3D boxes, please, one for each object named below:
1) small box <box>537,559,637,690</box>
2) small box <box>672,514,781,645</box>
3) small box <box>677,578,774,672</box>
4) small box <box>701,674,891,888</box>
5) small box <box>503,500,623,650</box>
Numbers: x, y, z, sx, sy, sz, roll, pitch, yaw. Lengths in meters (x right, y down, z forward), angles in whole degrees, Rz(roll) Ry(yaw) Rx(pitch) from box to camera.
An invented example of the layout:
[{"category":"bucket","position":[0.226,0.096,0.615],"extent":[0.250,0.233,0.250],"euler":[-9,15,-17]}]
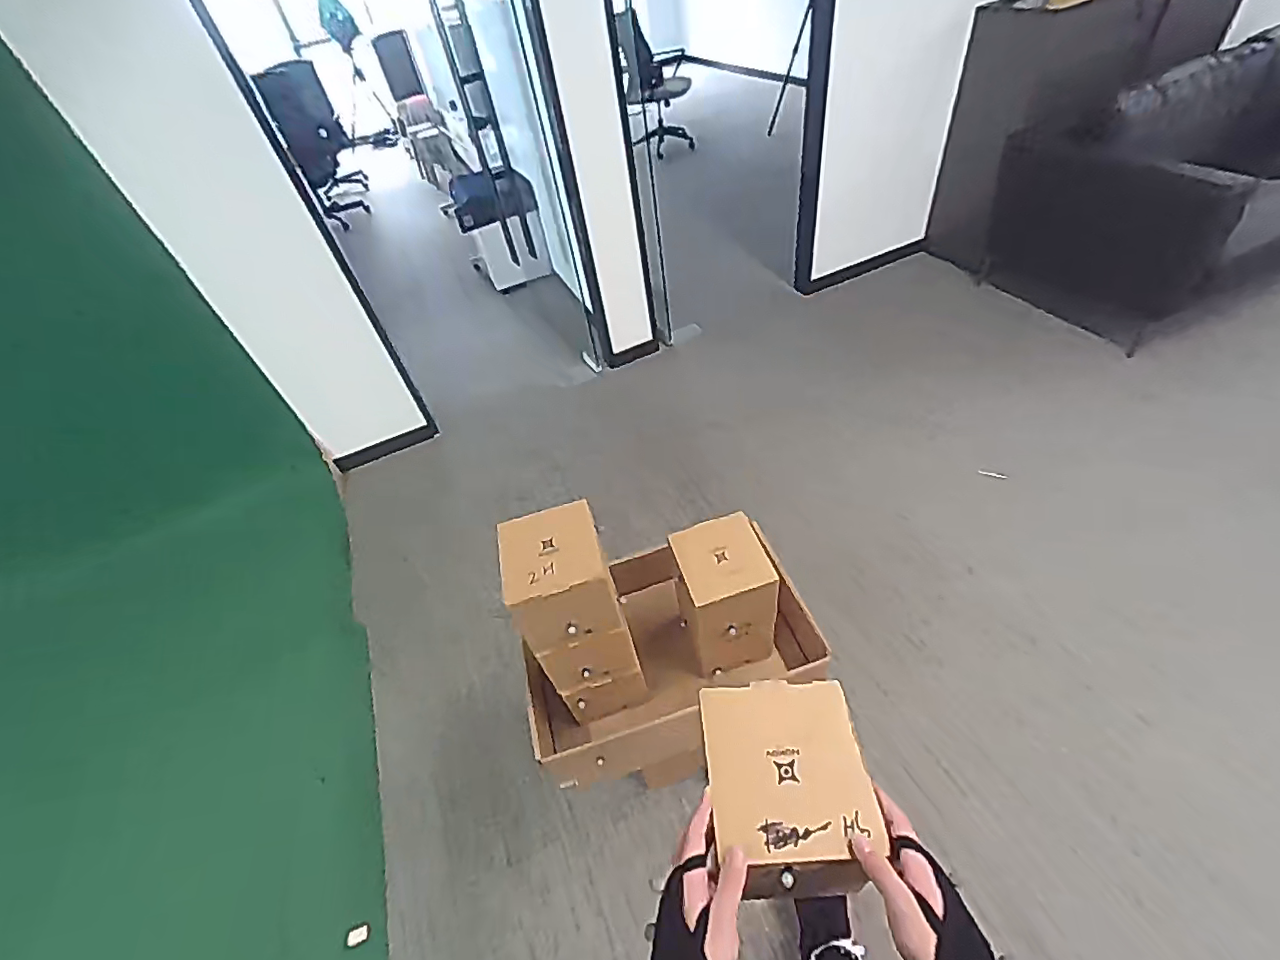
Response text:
[{"category":"small box","position":[-0.111,0.284,1.074],"extent":[0.168,0.176,0.179],"euler":[-16,46,-5]},{"category":"small box","position":[0.170,0.202,1.094],"extent":[0.168,0.176,0.179],"euler":[-17,47,-4]},{"category":"small box","position":[0.192,0.310,1.214],"extent":[0.168,0.176,0.179],"euler":[-16,46,-4]},{"category":"small box","position":[0.161,0.348,0.627],"extent":[0.168,0.176,0.179],"euler":[-4,44,2]},{"category":"small box","position":[-0.136,0.169,0.958],"extent":[0.168,0.176,0.179],"euler":[-16,46,-3]}]
